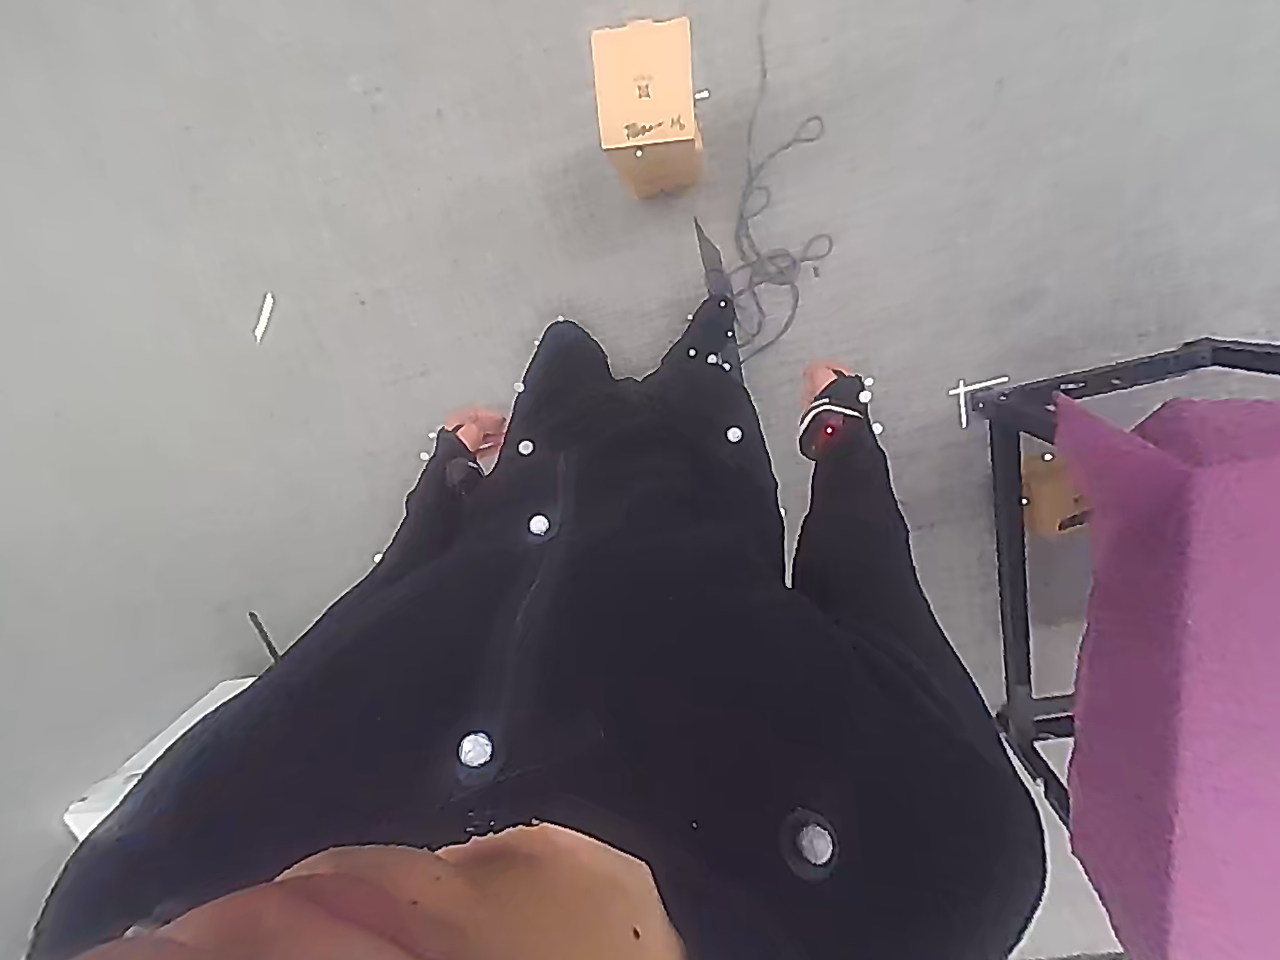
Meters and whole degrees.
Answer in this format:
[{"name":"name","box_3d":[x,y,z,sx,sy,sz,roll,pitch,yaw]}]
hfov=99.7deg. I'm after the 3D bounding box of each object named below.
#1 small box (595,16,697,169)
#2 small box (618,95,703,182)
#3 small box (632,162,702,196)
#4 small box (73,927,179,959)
[{"name":"small box","box_3d":[0.018,-0.690,0.983,0.168,0.176,0.179,-2,108,7]},{"name":"small box","box_3d":[0.036,-0.747,1.136,0.179,0.176,0.168,-9,108,9]},{"name":"small box","box_3d":[0.051,-0.801,1.288,0.168,0.176,0.179,-11,108,10]},{"name":"small box","box_3d":[-1.317,1.257,1.350,0.179,0.176,0.168,-8,110,9]}]
